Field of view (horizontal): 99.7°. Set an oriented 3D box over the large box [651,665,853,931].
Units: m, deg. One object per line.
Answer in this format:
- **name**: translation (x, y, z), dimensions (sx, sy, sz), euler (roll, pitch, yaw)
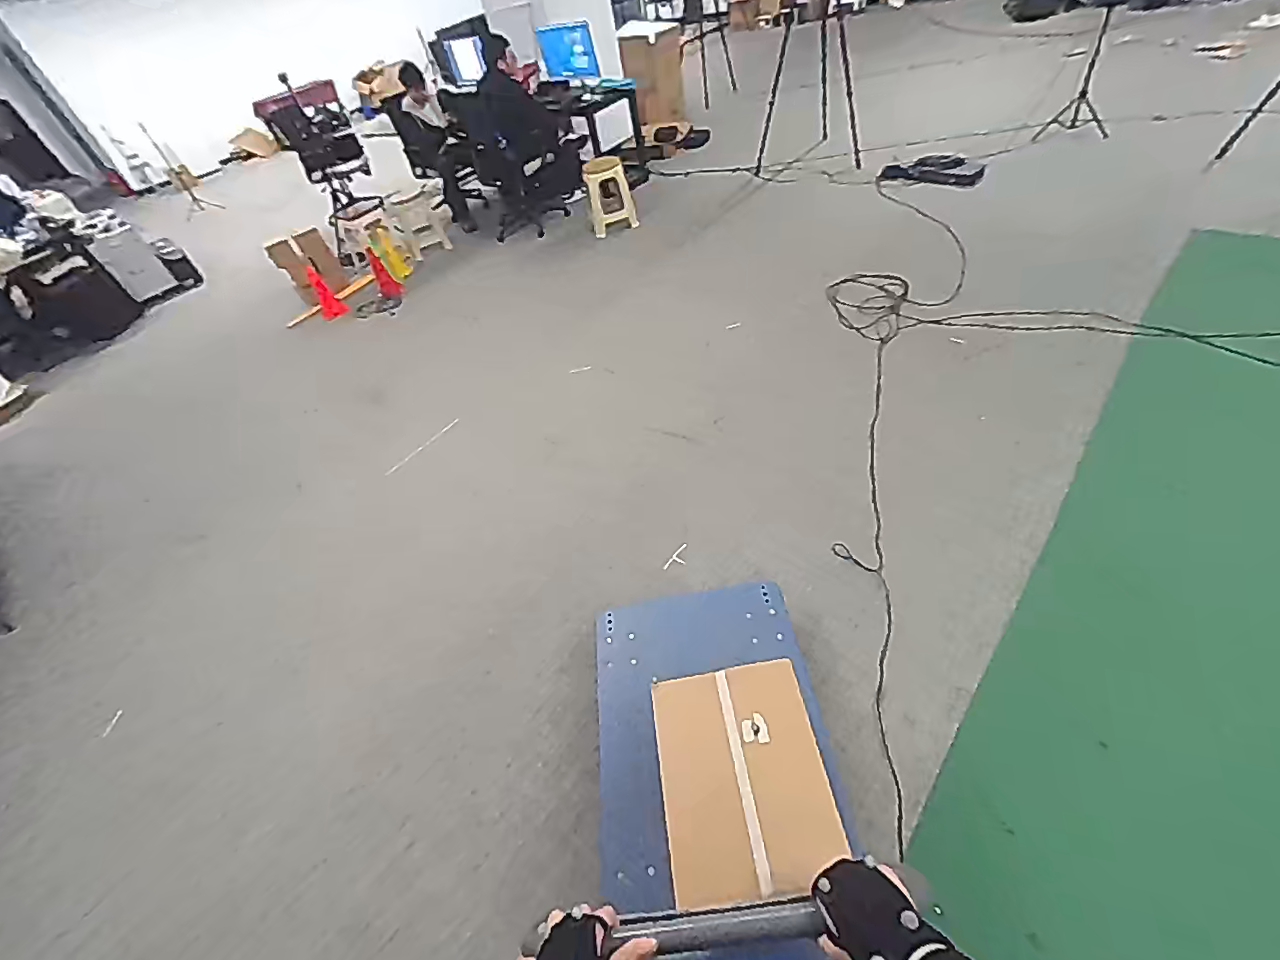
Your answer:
- **large box**: translation (0.223, 0.681, 1.168), dimensions (0.320, 0.320, 0.408), euler (-11, 44, 3)
